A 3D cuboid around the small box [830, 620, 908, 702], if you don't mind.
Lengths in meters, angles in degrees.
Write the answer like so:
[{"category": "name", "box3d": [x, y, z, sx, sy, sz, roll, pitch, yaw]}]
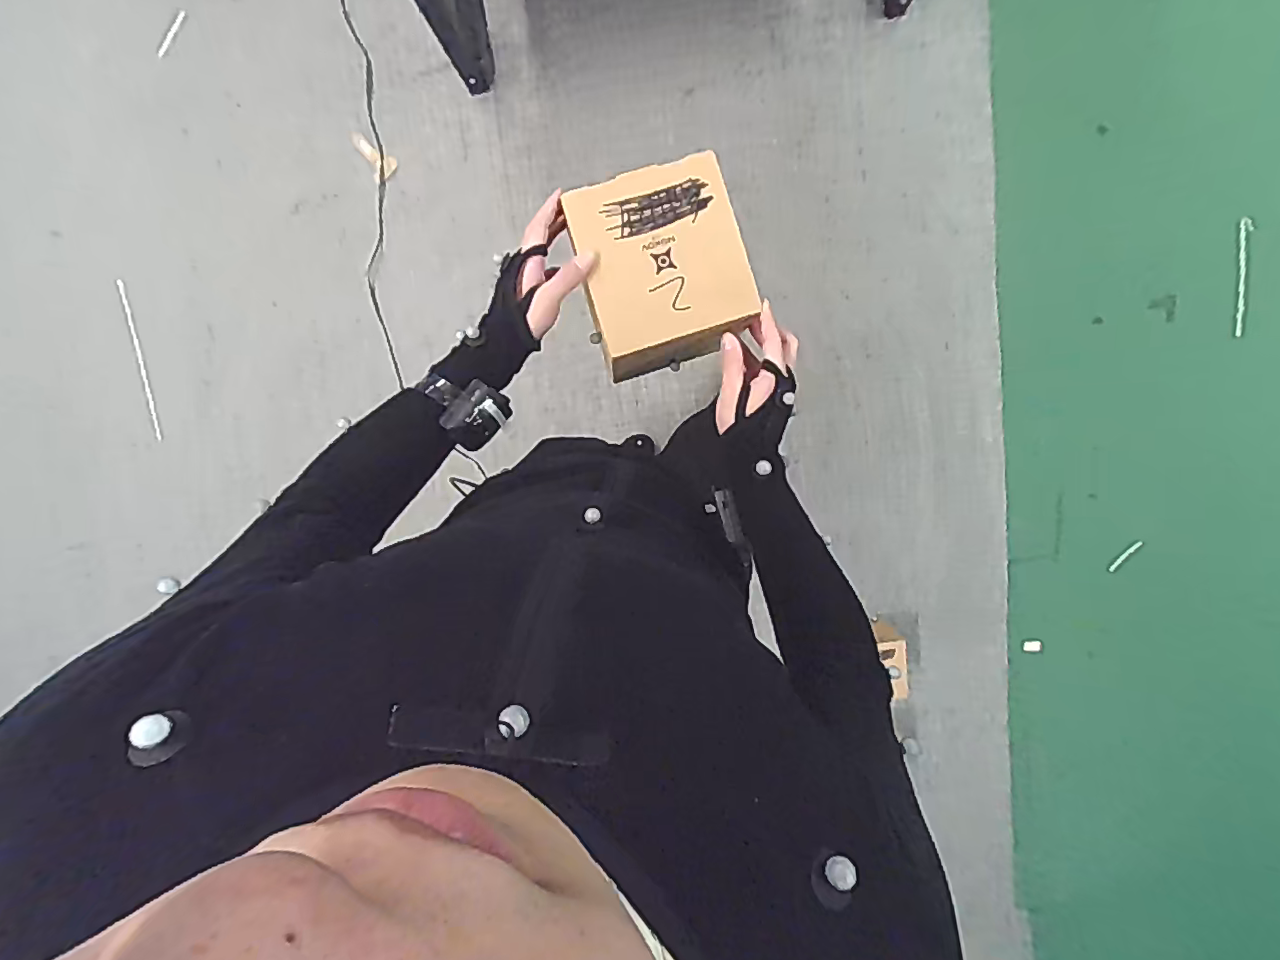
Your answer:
[{"category": "small box", "box3d": [0.661, 0.518, 1.574, 0.168, 0.176, 0.179, -5, 99, 3]}]
